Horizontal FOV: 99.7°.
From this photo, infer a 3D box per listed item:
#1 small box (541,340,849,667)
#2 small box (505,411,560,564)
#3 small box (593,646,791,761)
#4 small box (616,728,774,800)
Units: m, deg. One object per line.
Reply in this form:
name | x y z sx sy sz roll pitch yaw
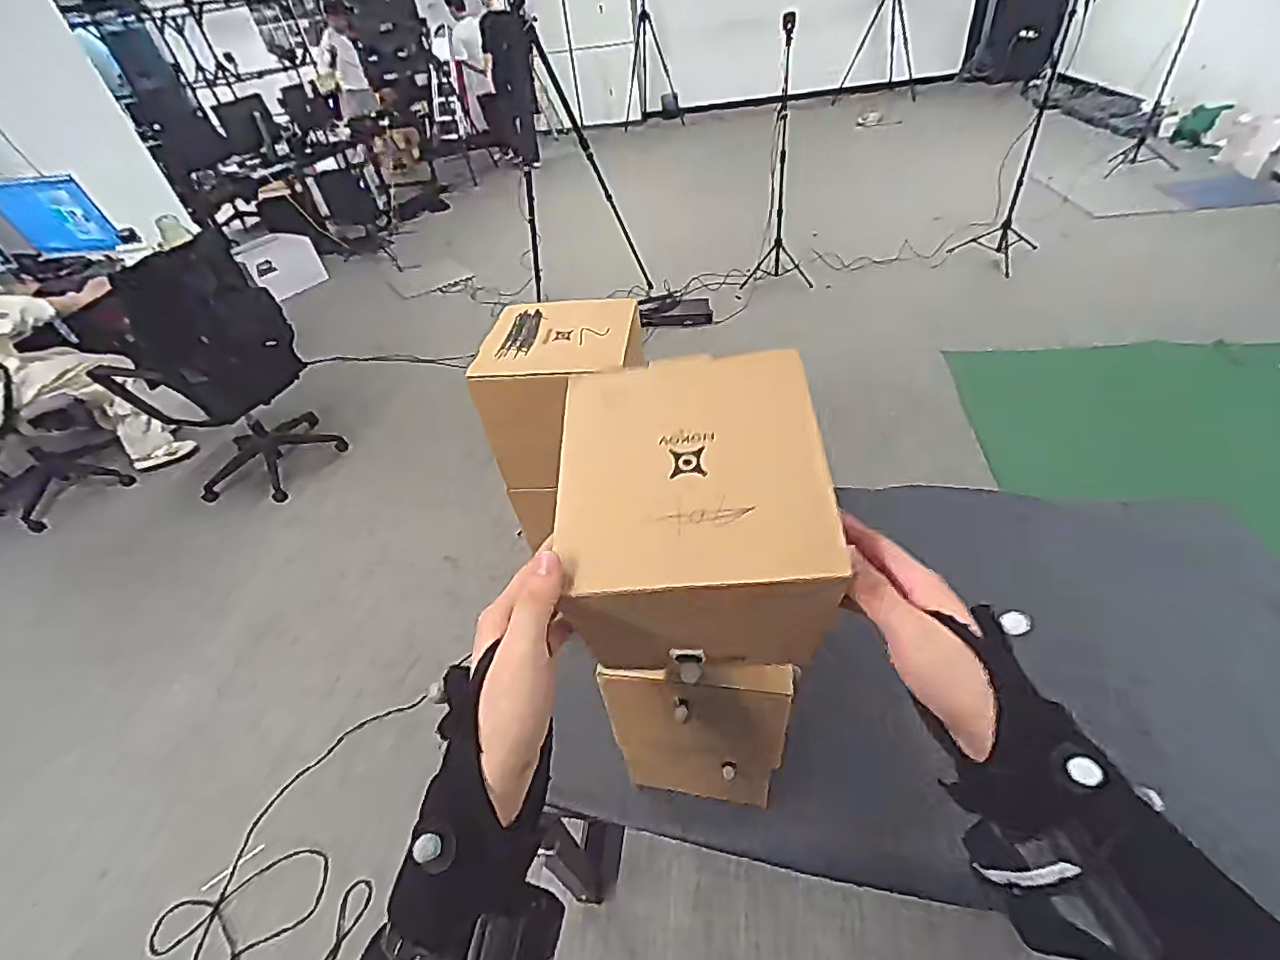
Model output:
small box | 0.038 0.026 0.395 0.168 0.176 0.179 -5 58 8
small box | -0.071 0.013 0.795 0.179 0.176 0.168 -2 44 9
small box | 0.066 0.183 0.584 0.179 0.176 0.168 1 43 13
small box | 0.081 0.293 0.703 0.179 0.176 0.168 2 43 13
